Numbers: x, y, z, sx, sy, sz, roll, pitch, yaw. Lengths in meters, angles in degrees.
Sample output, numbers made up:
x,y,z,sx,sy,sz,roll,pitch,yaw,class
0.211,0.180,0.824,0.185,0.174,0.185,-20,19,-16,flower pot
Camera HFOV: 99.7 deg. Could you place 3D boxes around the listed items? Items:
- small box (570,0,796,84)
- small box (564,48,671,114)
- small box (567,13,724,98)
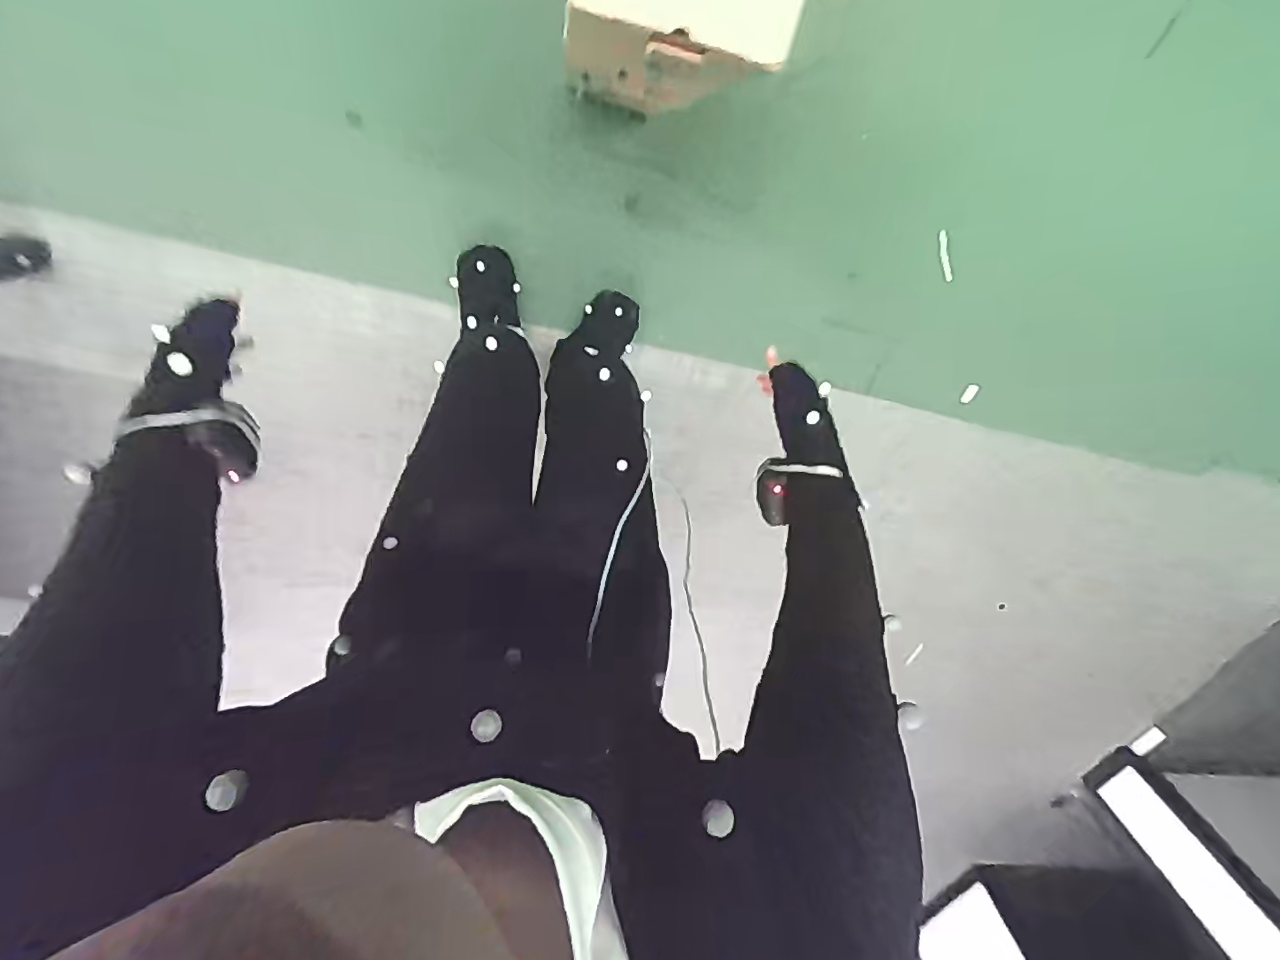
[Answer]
x,y,z,sx,sy,sz,roll,pitch,yaw,class
0.036,-0.447,0.431,0.168,0.176,0.179,7,121,-13,small box
-0.019,-0.700,0.850,0.168,0.176,0.179,10,120,-15,small box
0.017,-0.532,0.570,0.168,0.176,0.179,7,121,-13,small box
